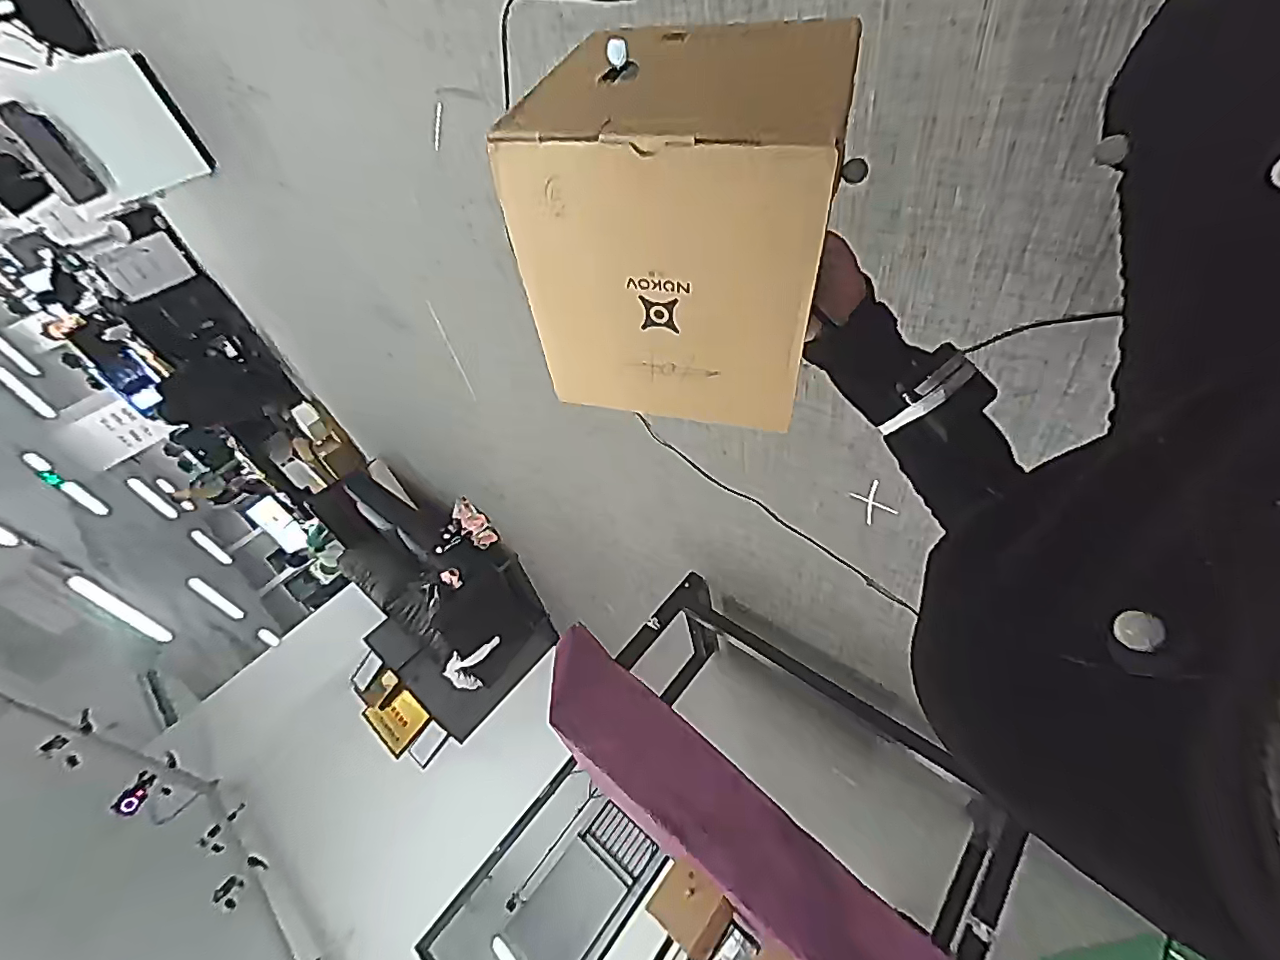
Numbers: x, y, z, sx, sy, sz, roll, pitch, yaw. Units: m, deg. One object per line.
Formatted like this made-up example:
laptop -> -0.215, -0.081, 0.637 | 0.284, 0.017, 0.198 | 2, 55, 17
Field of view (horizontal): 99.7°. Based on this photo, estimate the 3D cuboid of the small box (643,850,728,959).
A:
small box -> 0.139, 1.238, 1.583 | 0.168, 0.176, 0.179 | 21, 143, 40

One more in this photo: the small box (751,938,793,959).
small box -> 0.359, 1.342, 1.408 | 0.179, 0.176, 0.168 | 25, 147, 36

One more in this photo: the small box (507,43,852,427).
small box -> 0.038, -0.165, 0.362 | 0.168, 0.176, 0.179 | 11, 144, 14
